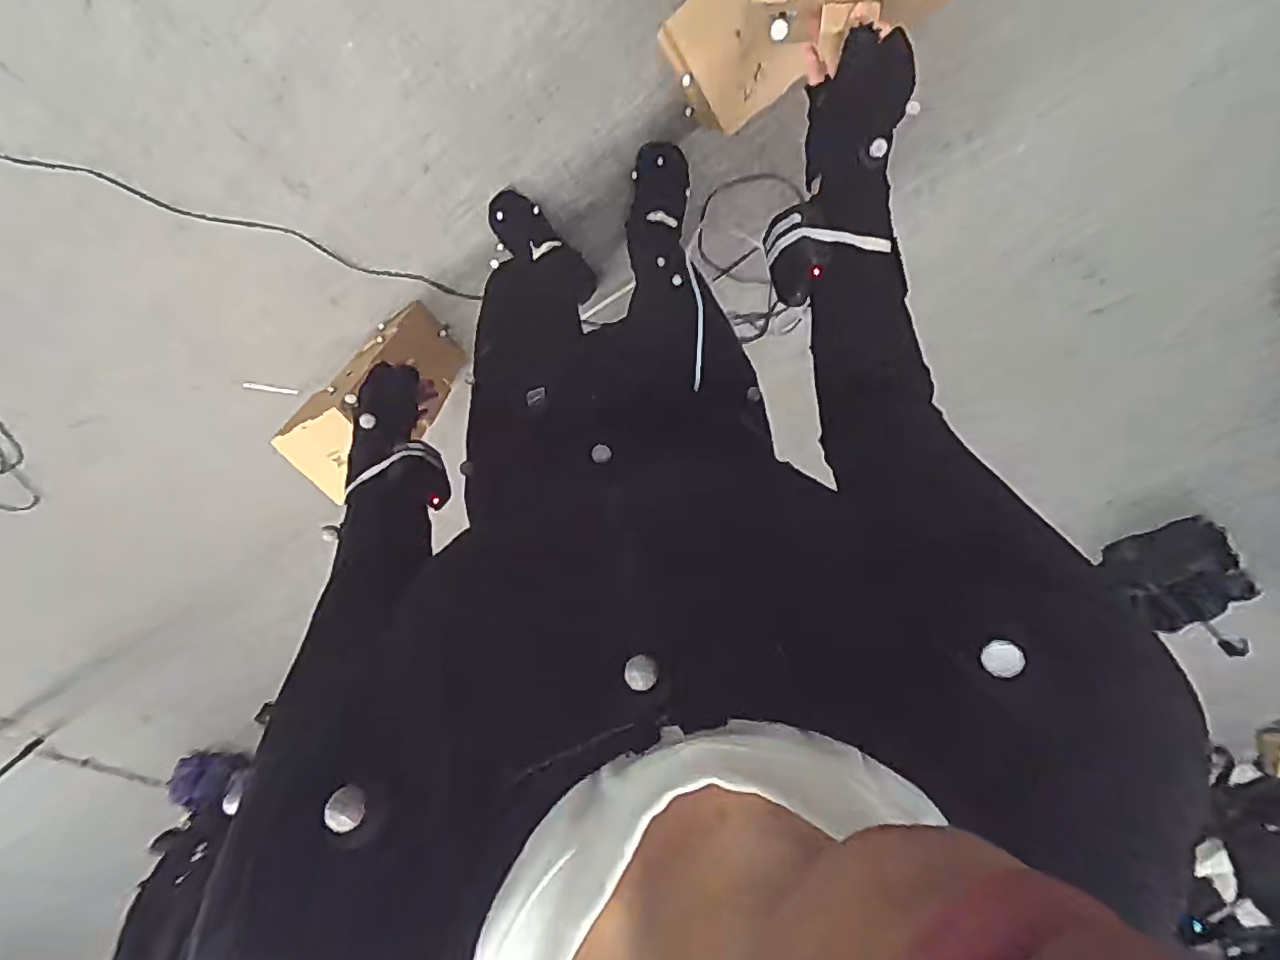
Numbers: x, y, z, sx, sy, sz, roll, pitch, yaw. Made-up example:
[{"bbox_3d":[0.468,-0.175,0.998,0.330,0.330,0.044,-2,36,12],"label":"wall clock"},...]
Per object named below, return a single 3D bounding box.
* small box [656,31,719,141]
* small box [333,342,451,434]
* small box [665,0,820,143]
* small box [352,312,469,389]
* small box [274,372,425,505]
[{"bbox_3d":[0.143,-0.762,0.983,0.168,0.176,0.179,-30,122,20],"label":"small box"},{"bbox_3d":[-0.559,-0.186,1.211,0.168,0.176,0.179,-25,125,18],"label":"small box"},{"bbox_3d":[0.151,-0.669,0.847,0.168,0.176,0.179,-30,122,20],"label":"small box"},{"bbox_3d":[-0.559,-0.294,1.339,0.168,0.176,0.179,-27,122,23],"label":"small box"},{"bbox_3d":[-0.567,-0.085,1.084,0.168,0.176,0.179,-21,124,15],"label":"small box"}]
